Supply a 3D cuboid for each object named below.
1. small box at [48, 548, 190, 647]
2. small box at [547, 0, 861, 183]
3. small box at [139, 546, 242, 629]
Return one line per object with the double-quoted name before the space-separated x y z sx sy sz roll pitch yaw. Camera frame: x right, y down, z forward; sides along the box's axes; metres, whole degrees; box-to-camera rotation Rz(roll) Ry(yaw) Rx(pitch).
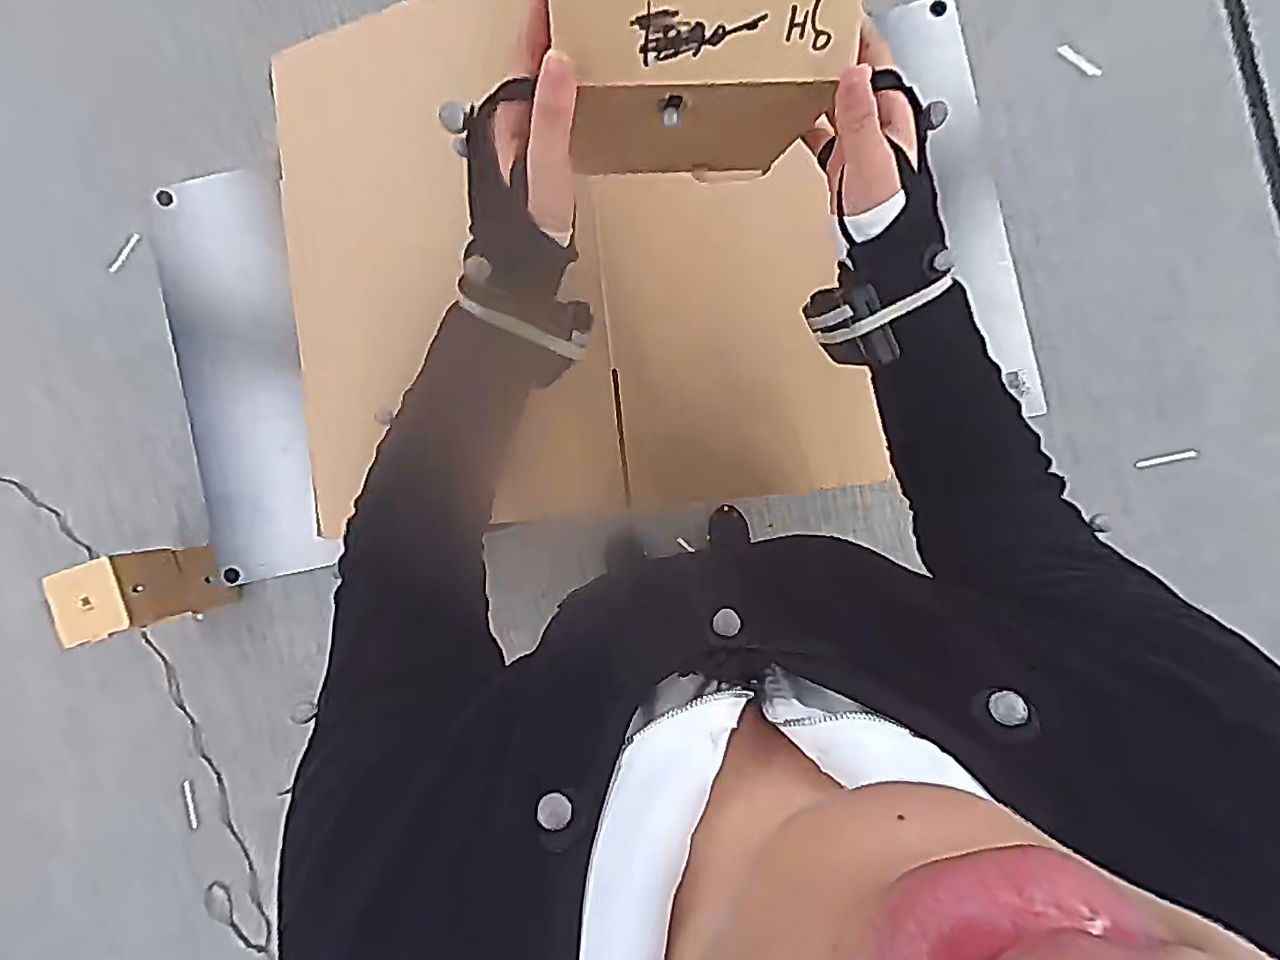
"small box" -1.253 0.278 1.315 0.168 0.176 0.179 -19 88 1
"small box" 0.027 -0.311 0.345 0.168 0.176 0.179 -3 104 -2
"small box" -1.243 0.284 1.477 0.168 0.176 0.179 -16 89 2
